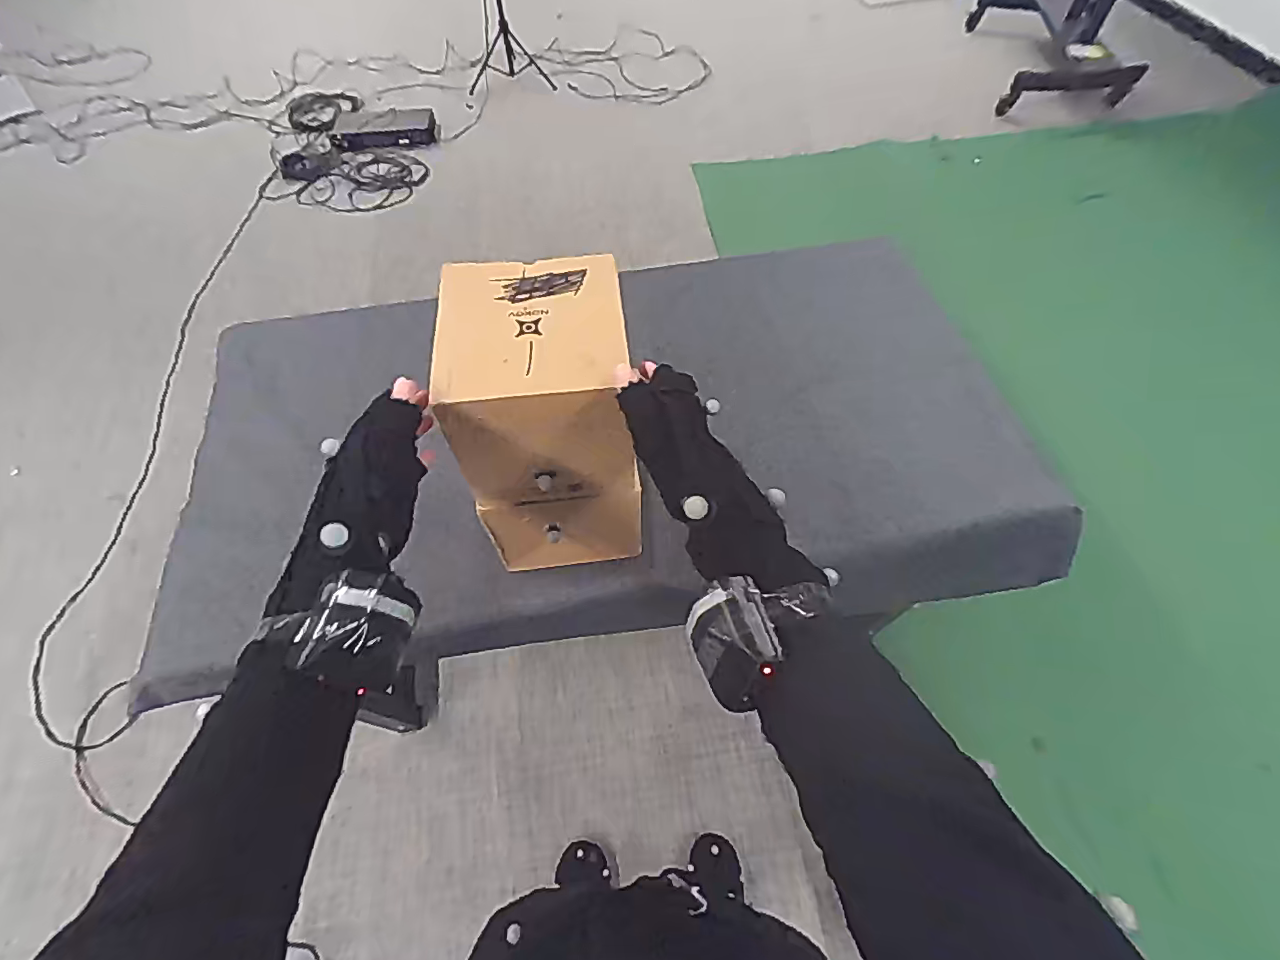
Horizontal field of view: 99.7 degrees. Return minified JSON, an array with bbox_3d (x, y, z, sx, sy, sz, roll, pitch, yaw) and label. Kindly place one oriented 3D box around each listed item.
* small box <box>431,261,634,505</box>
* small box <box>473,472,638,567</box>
[{"bbox_3d":[-0.095,-0.094,0.547,0.168,0.176,0.179,-5,58,-3],"label":"small box"},{"bbox_3d":[-0.097,-0.001,0.683,0.179,0.176,0.168,-6,58,-3],"label":"small box"}]
